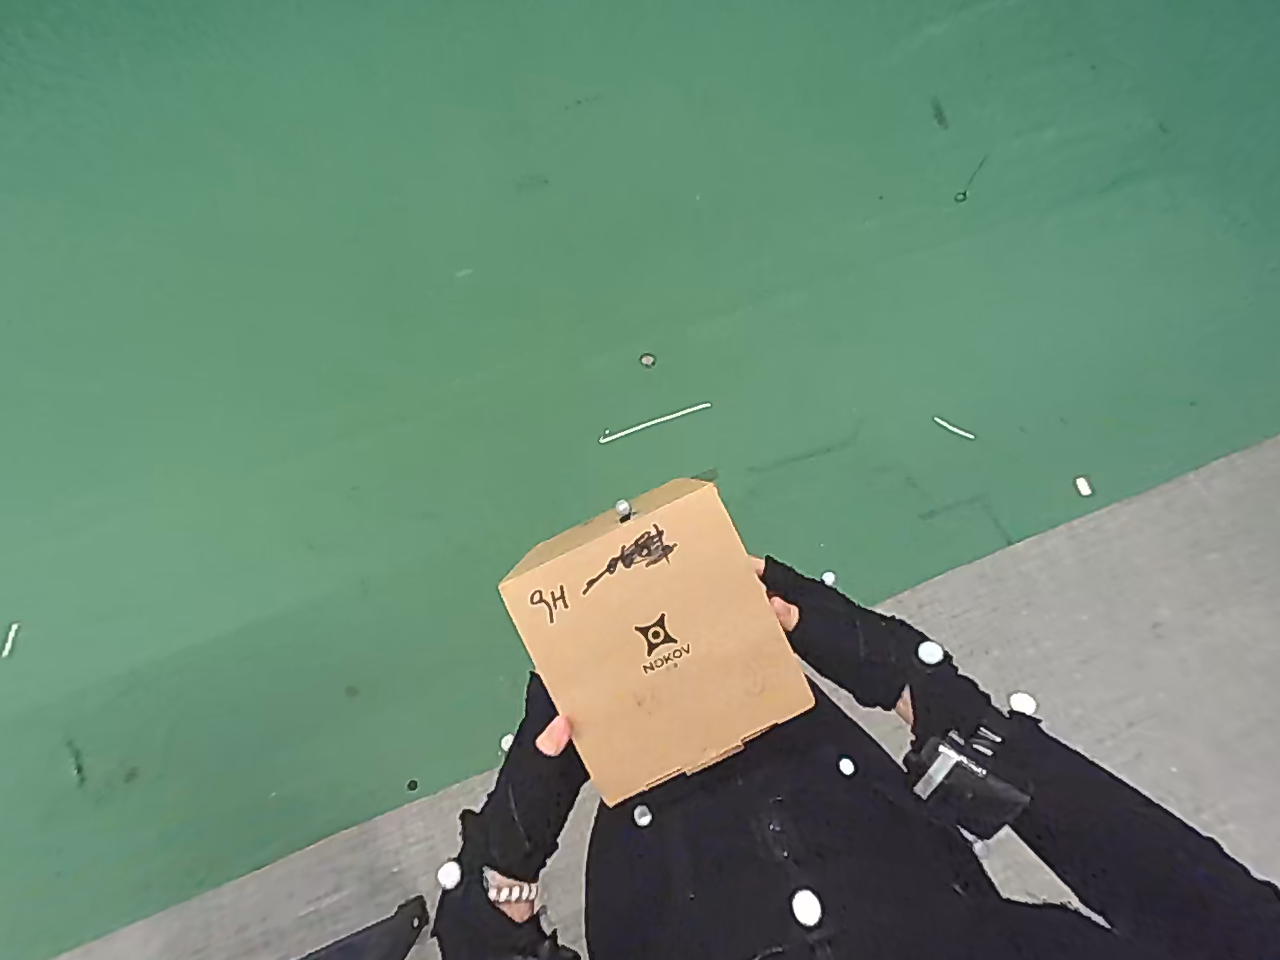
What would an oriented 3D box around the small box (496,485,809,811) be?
[{"bbox_3d":[0.008,0.115,0.448,0.168,0.176,0.179,-25,93,-1],"label":"small box"}]
